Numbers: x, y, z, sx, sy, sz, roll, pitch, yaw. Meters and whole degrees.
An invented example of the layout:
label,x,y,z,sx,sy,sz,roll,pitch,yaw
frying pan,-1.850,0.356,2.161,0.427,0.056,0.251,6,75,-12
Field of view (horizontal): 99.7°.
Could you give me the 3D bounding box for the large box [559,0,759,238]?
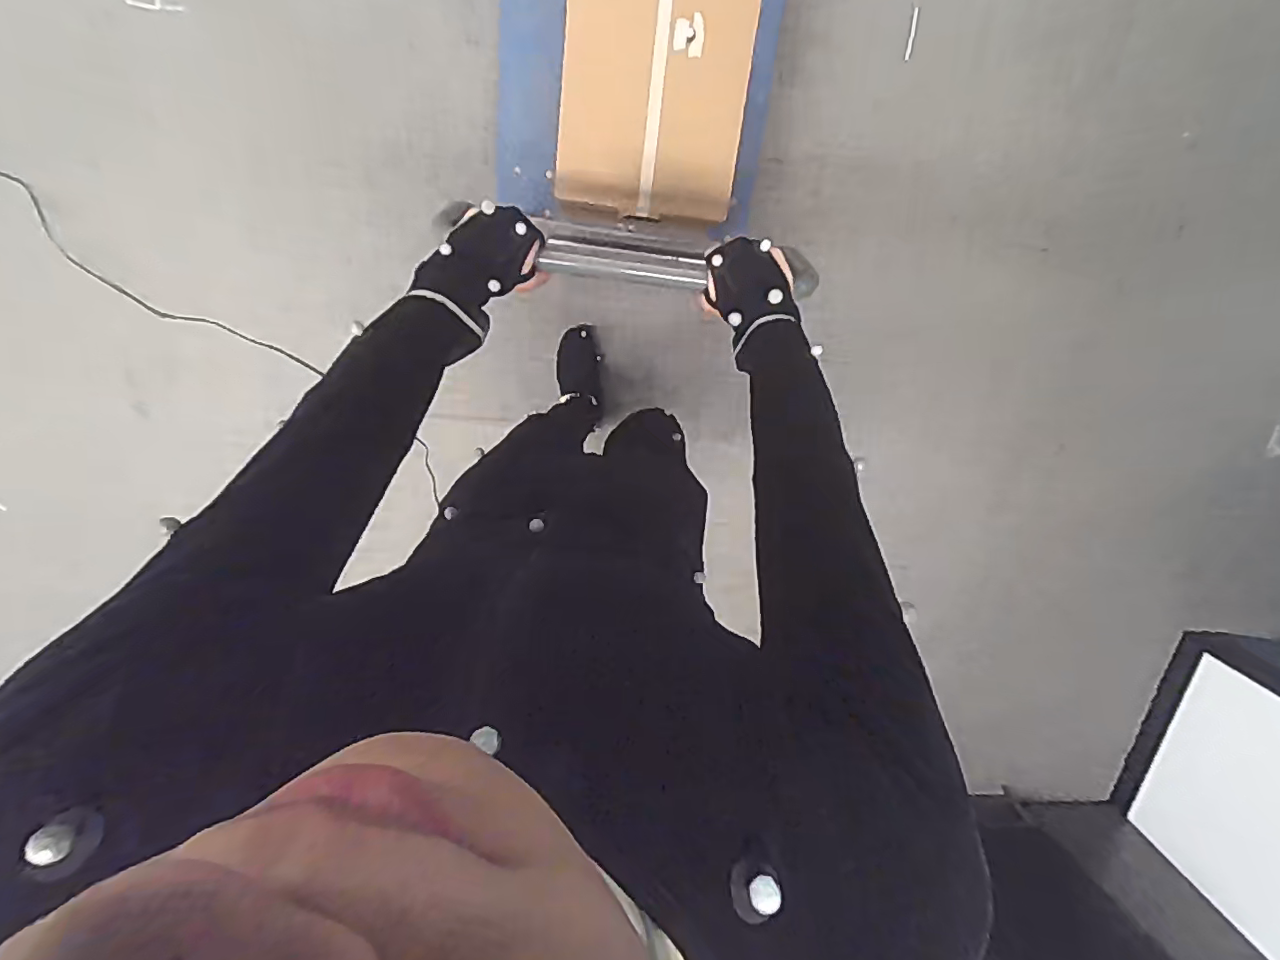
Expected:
label,x,y,z,sx,sy,sz,roll,pitch,yaw
large box,0.022,-0.718,1.052,0.320,0.320,0.408,5,107,-6
